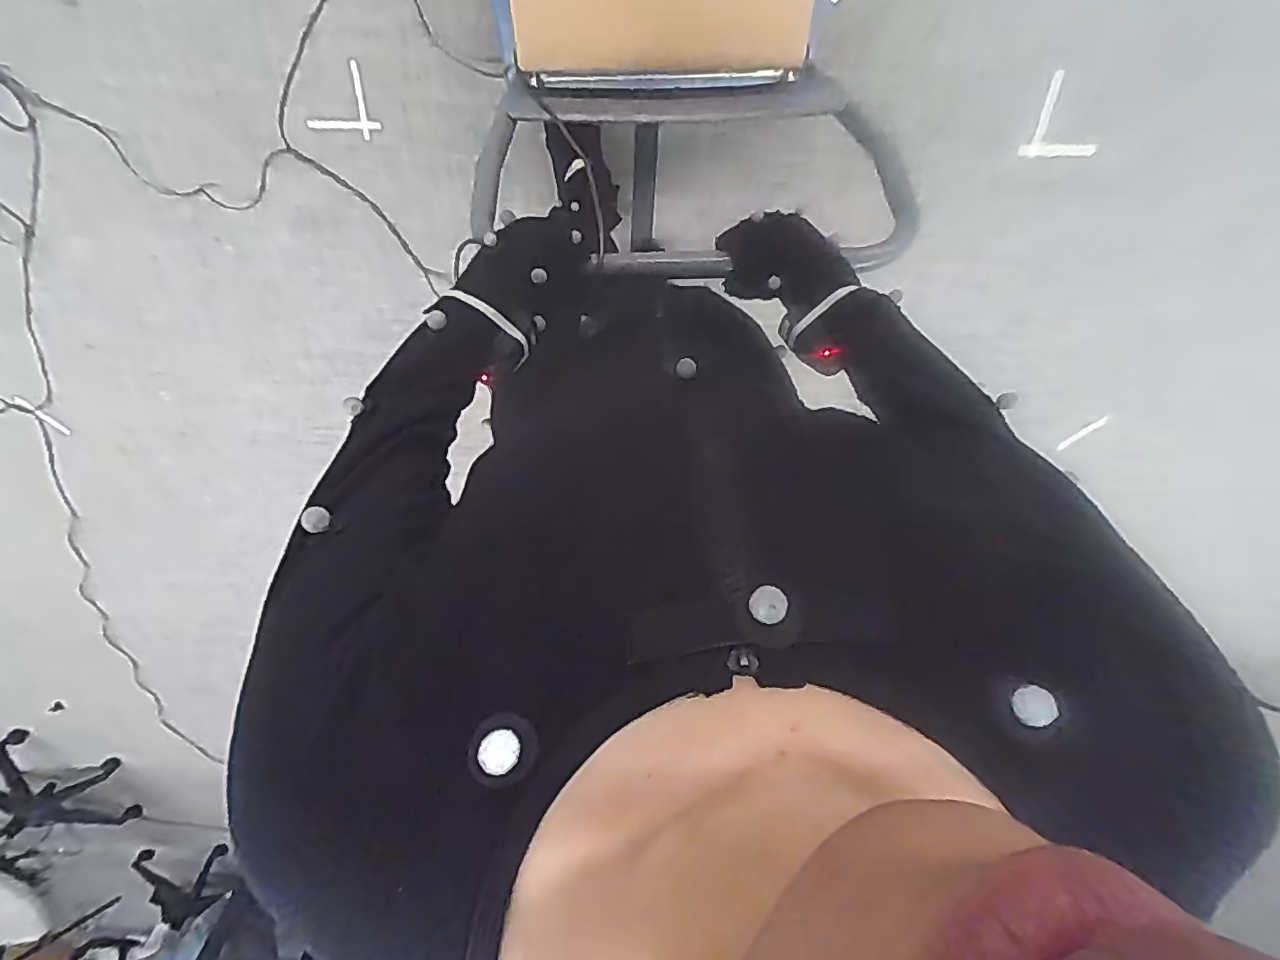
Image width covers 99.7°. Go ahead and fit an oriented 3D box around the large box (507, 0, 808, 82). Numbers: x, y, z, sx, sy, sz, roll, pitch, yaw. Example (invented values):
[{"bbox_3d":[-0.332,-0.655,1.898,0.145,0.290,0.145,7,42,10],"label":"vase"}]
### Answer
[{"bbox_3d":[0.014,-0.784,0.756,0.408,0.320,0.320,-3,137,-2],"label":"large box"}]
